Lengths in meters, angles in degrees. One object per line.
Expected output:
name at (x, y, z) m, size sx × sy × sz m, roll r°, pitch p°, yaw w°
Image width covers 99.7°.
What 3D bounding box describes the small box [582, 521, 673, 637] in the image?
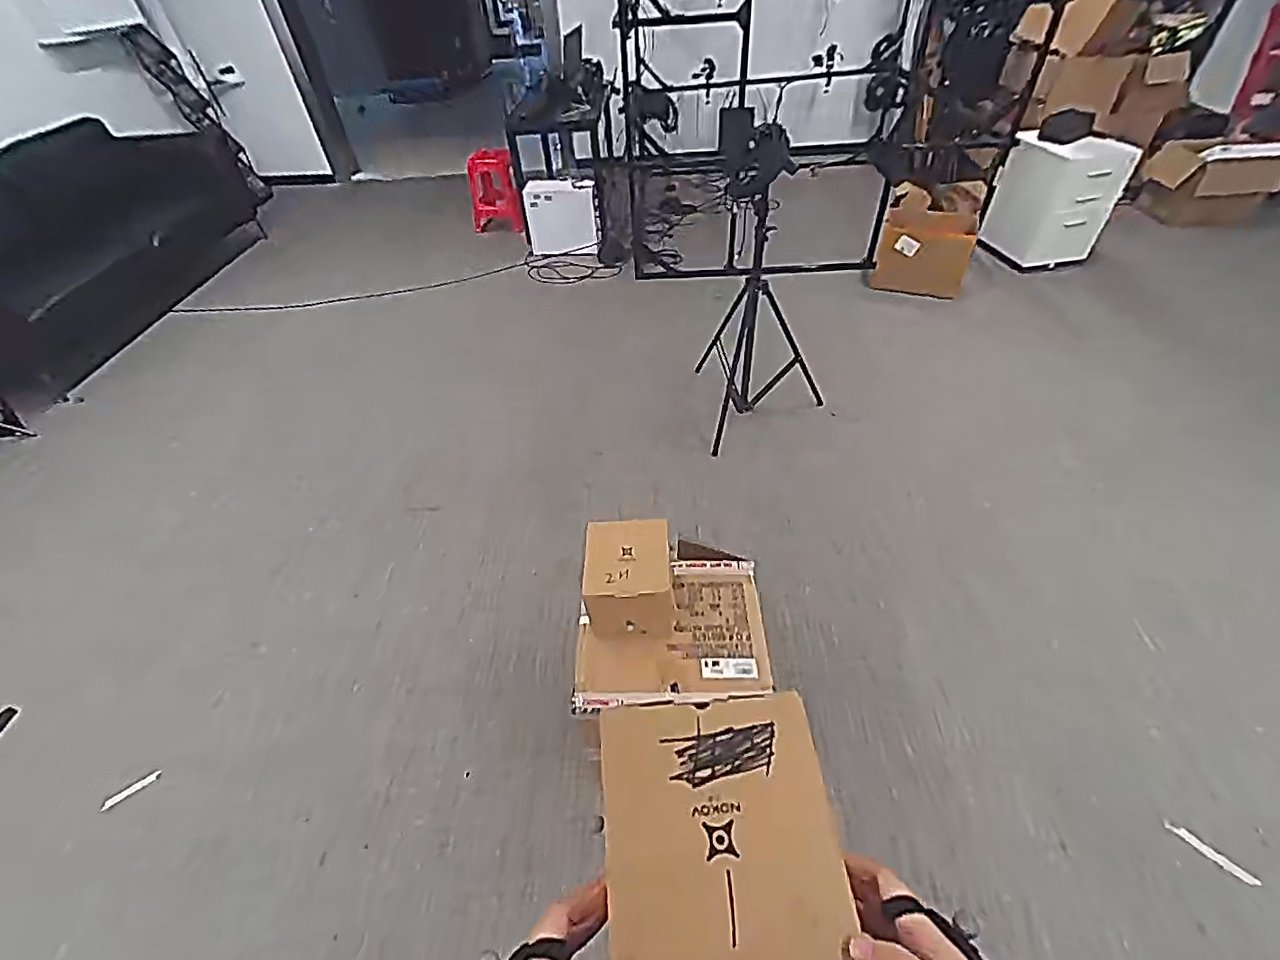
small box at (-0.019, 0.203, 1.108) m, size 0.168 × 0.176 × 0.179 m, roll -3°, pitch 48°, yaw 4°
